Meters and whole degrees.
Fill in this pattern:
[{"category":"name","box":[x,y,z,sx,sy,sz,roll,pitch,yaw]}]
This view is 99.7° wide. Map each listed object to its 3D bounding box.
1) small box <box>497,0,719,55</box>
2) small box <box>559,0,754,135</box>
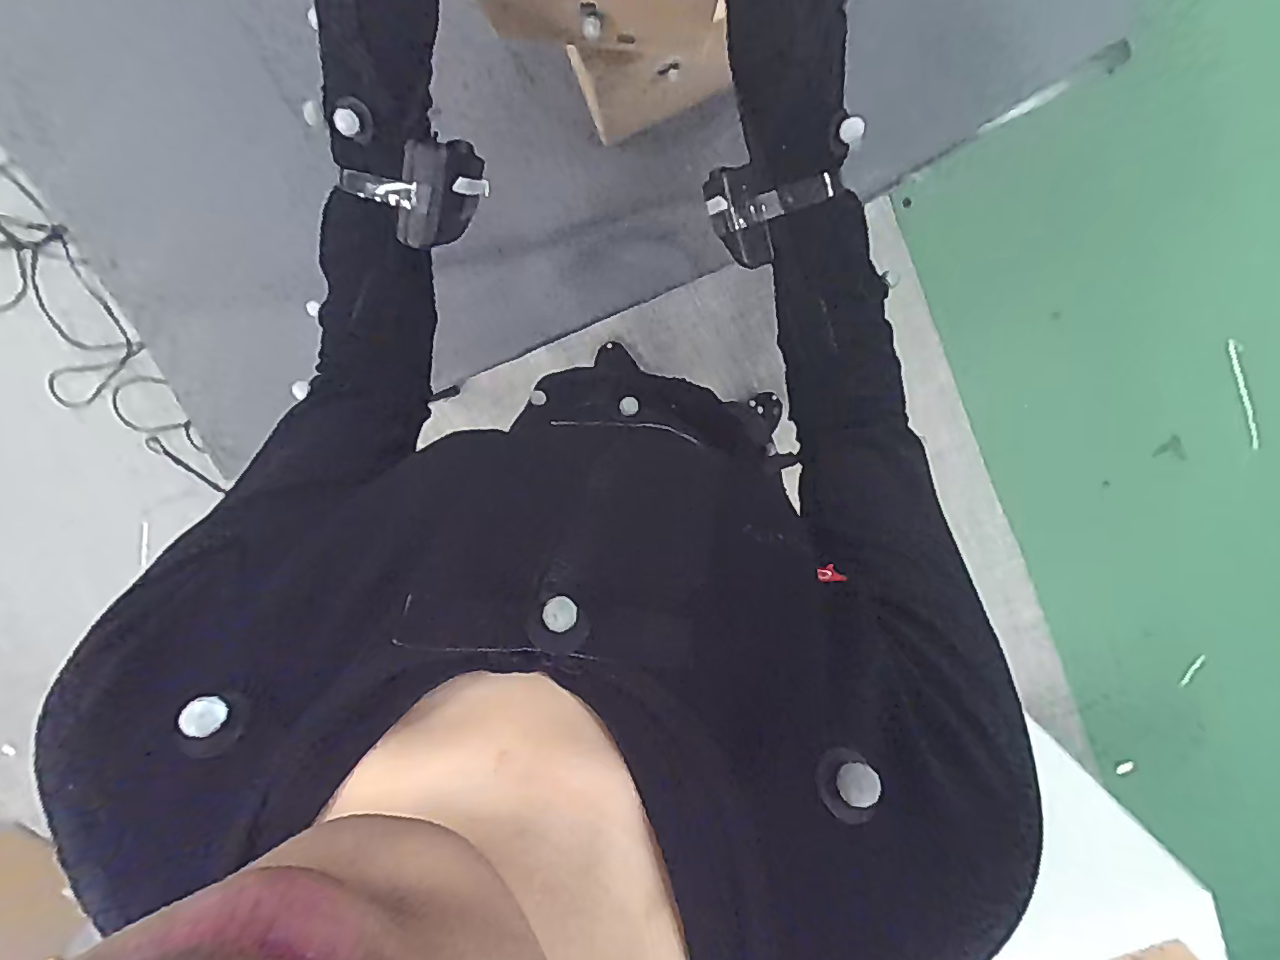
[{"category":"small box","box":[-0.020,-0.398,0.318,0.168,0.176,0.179,5,107,-2]},{"category":"small box","box":[-0.001,-0.478,0.527,0.179,0.176,0.168,-23,104,6]}]
